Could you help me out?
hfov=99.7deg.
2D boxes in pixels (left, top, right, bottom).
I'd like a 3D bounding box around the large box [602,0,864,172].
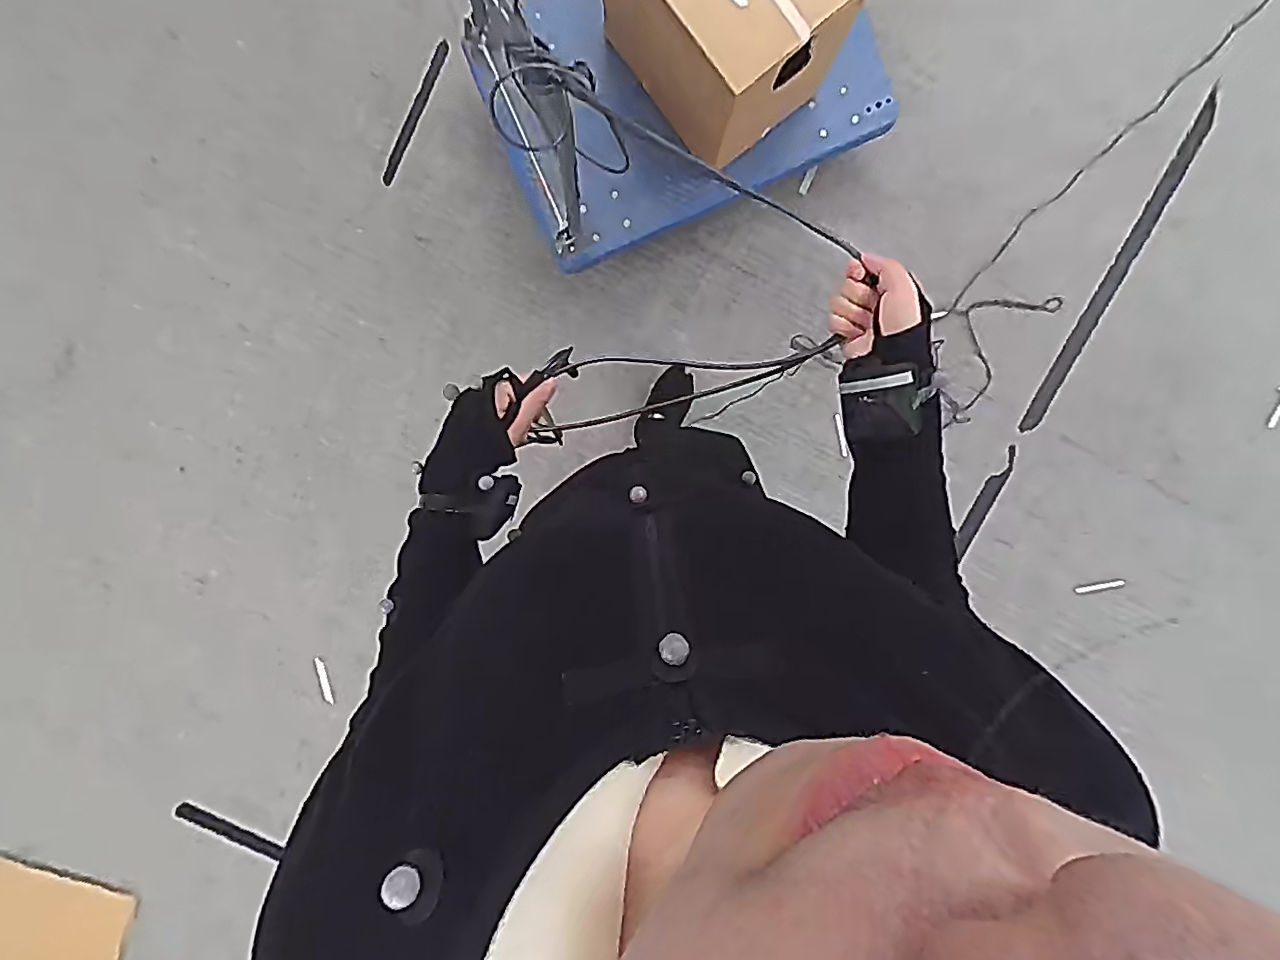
[{"bbox_3d":[0.161,-0.937,1.076,0.320,0.320,0.408,-39,96,3],"label":"large box"}]
